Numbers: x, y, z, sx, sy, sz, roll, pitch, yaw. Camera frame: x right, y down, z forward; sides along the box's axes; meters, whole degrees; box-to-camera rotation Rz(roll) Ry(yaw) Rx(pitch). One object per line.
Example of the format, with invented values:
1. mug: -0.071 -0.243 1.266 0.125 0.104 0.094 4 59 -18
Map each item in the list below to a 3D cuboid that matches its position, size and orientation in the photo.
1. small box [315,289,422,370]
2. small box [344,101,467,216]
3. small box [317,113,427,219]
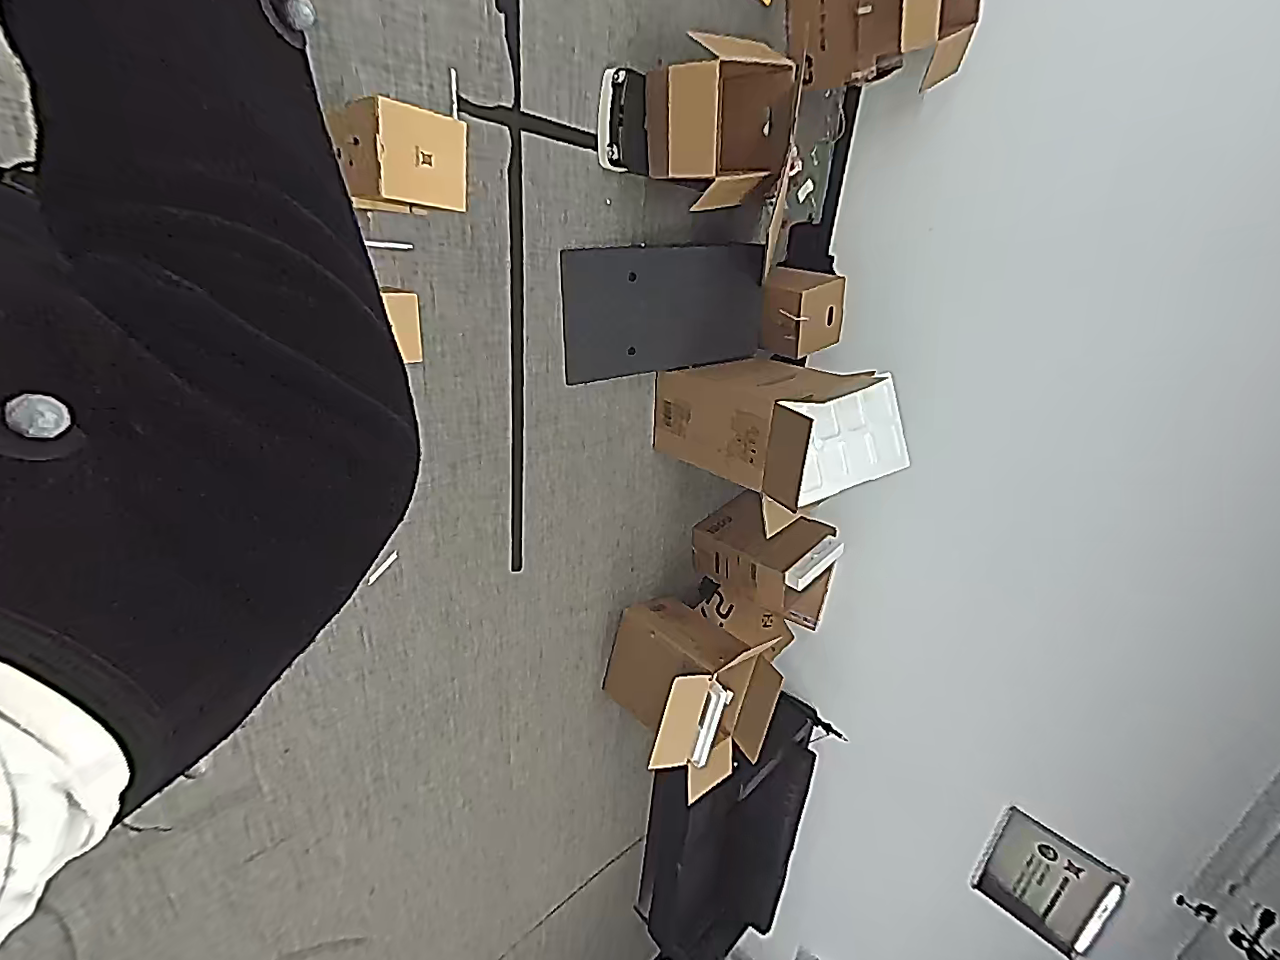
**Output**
1. small box: -0.651 -0.367 1.301 0.179 0.176 0.168 -17 120 -42
2. small box: -0.472 -0.641 1.092 0.179 0.176 0.168 -14 120 -43
3. small box: -0.591 -0.685 1.194 0.168 0.176 0.179 -17 122 -42
